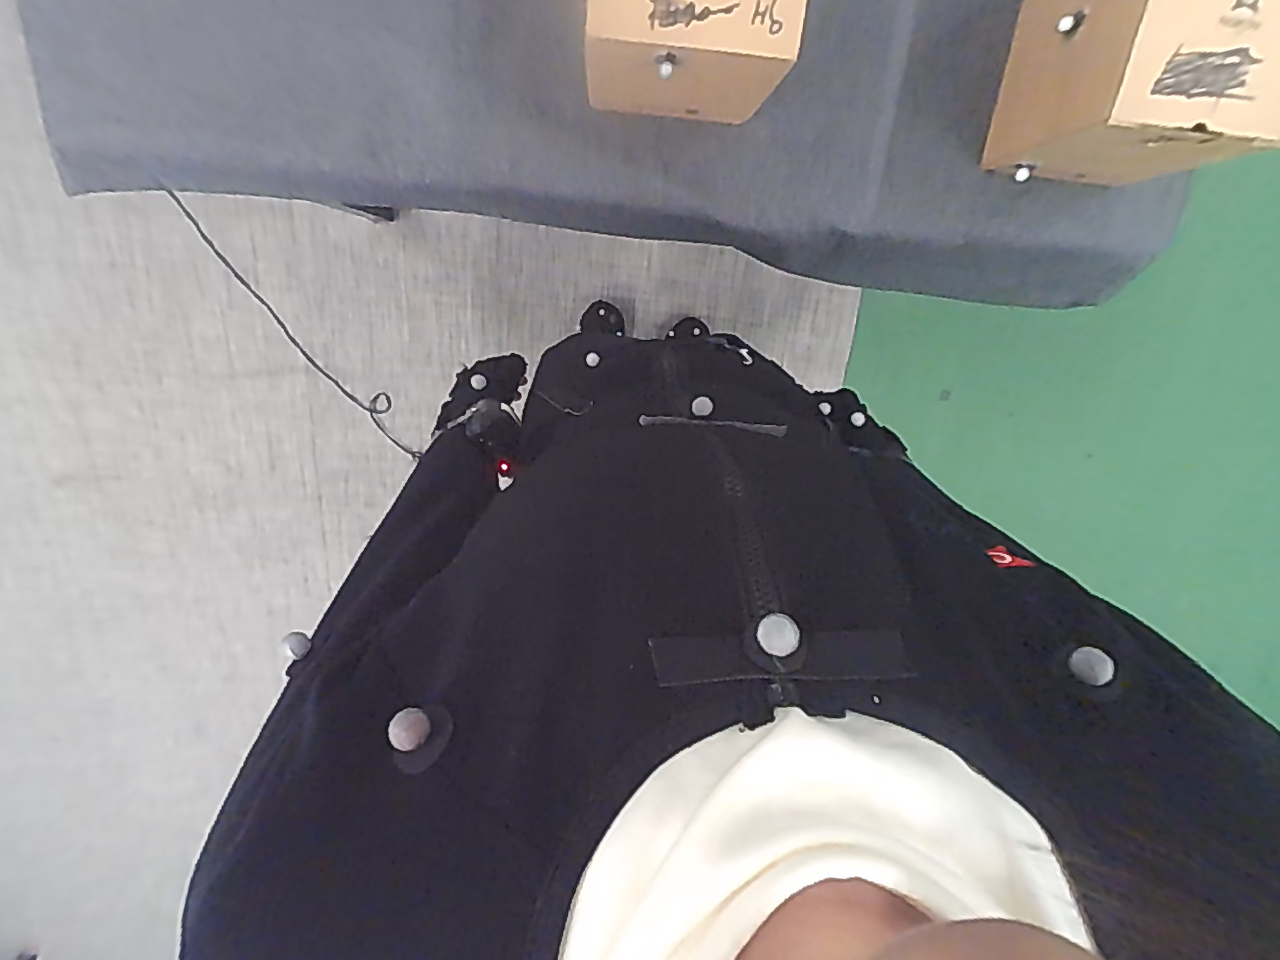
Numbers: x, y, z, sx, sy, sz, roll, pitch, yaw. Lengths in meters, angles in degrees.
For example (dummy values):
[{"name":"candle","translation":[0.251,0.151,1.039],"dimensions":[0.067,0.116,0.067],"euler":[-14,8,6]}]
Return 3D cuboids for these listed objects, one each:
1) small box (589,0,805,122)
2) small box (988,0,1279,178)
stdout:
[{"name":"small box","translation":[0.043,-0.440,0.462],"dimensions":[0.168,0.176,0.179],"euler":[3,108,-5]},{"name":"small box","translation":[0.466,-0.398,0.501],"dimensions":[0.168,0.176,0.179],"euler":[5,107,-5]}]
